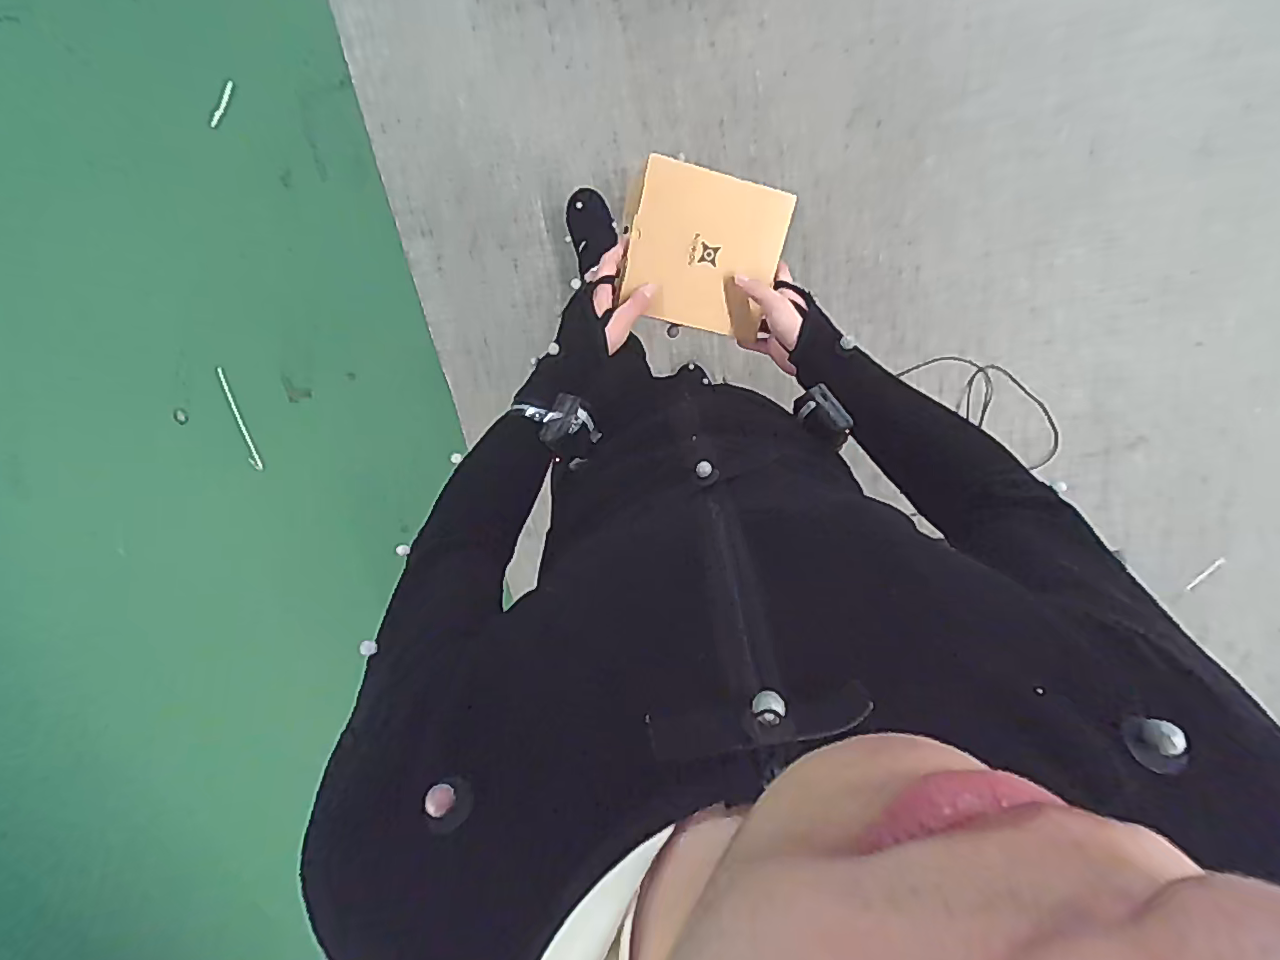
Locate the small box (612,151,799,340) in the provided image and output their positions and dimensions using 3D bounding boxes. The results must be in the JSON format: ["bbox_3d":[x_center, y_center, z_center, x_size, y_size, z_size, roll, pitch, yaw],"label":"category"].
[{"bbox_3d":[0.067,-0.285,0.681,0.179,0.176,0.168,10,109,-9],"label":"small box"}]
